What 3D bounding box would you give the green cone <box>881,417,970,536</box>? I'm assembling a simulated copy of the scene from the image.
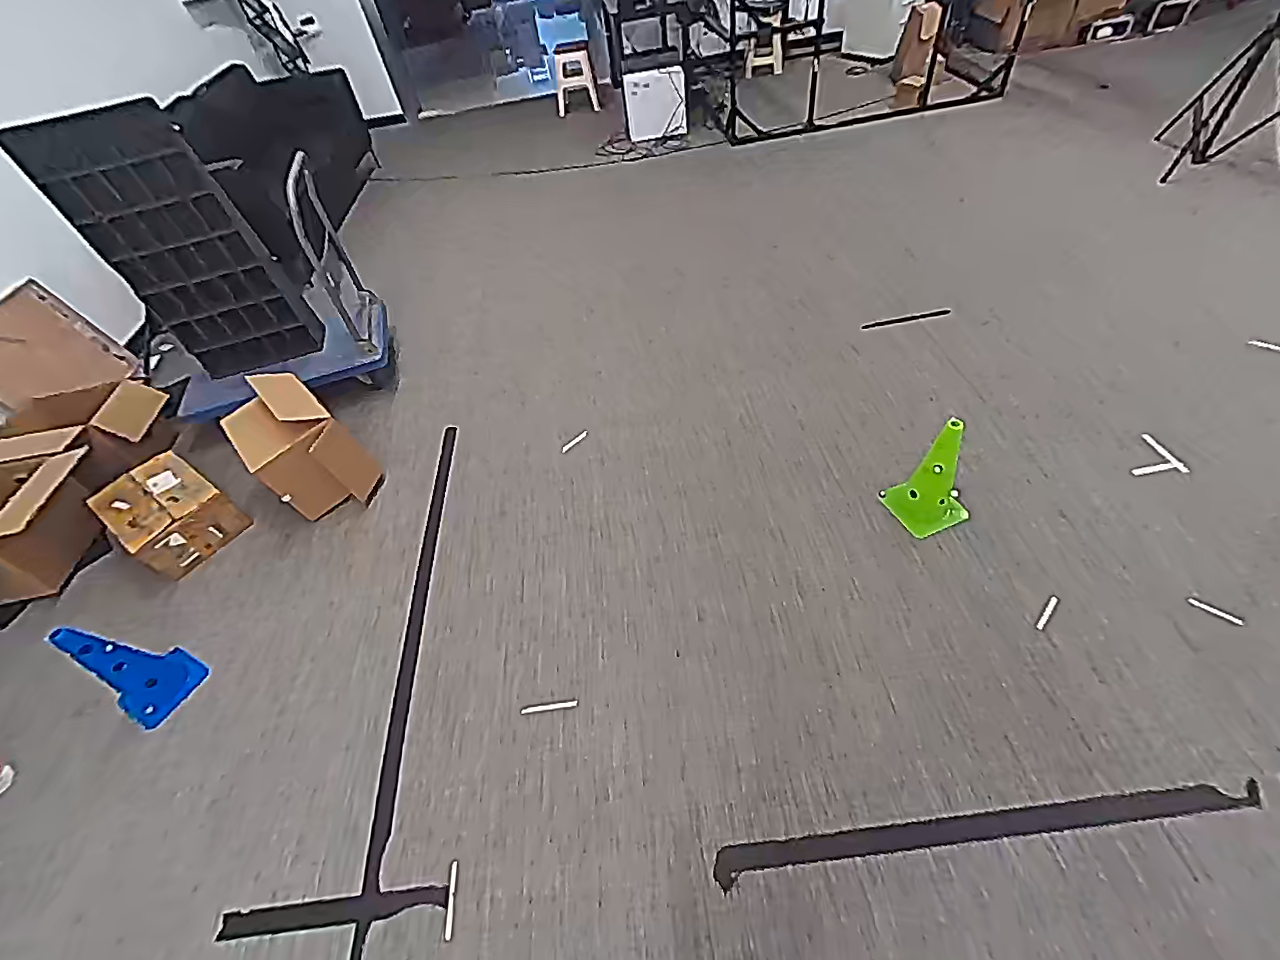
[{"bbox_3d":[0.878,-0.035,1.579,0.202,0.368,0.200,-20,49,-10],"label":"green cone"}]
